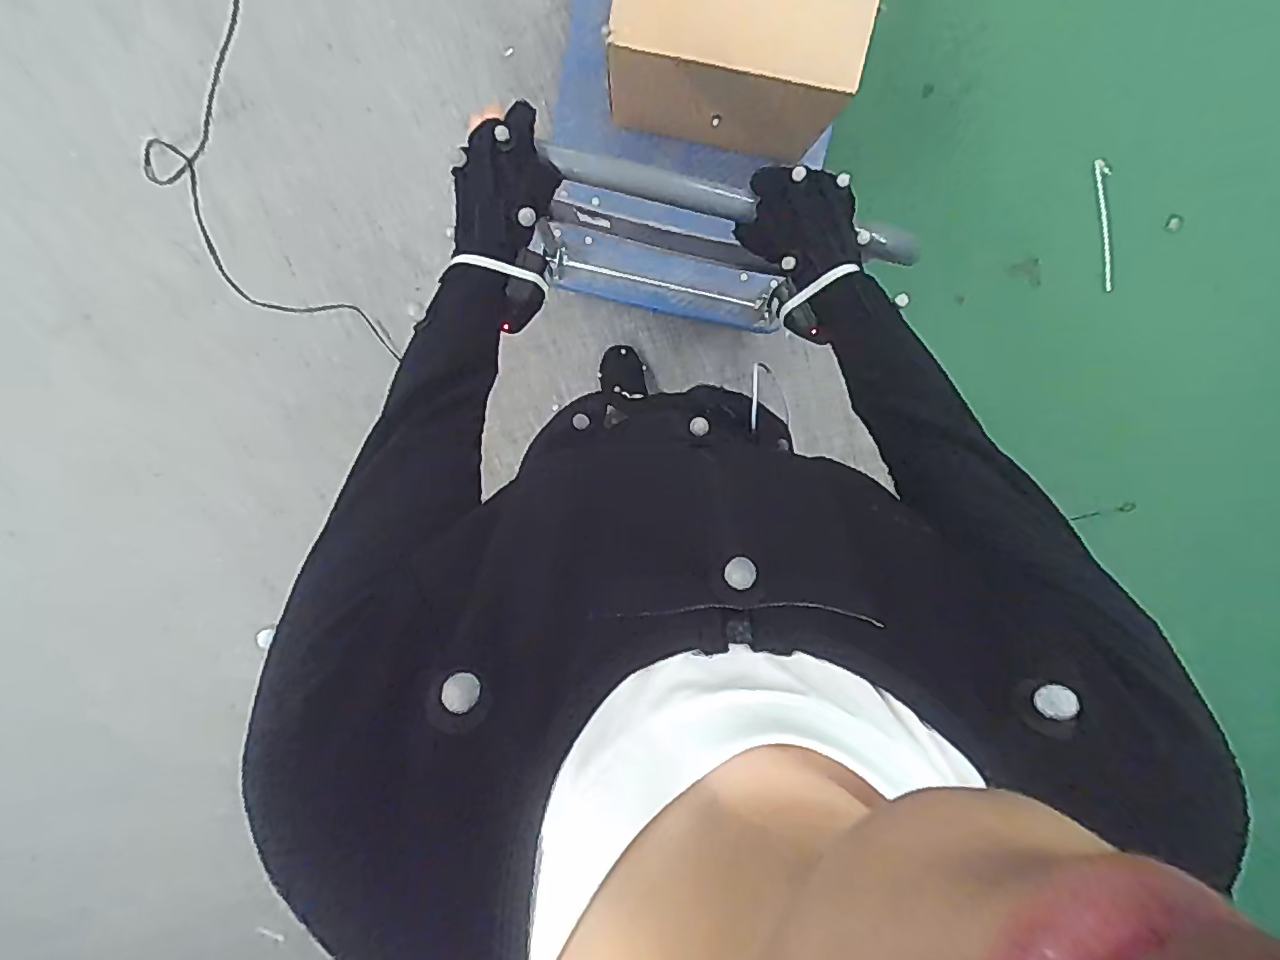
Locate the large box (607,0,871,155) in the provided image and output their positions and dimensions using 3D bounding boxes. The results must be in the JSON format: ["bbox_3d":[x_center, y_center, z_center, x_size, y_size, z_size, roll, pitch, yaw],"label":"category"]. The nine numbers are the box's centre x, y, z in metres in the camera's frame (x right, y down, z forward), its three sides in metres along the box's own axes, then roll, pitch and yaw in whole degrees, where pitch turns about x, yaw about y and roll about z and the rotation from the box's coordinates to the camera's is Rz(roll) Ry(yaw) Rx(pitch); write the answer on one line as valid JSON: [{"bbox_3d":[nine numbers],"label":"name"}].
[{"bbox_3d":[0.166,-0.828,0.968,0.408,0.320,0.320,9,102,-3],"label":"large box"}]
